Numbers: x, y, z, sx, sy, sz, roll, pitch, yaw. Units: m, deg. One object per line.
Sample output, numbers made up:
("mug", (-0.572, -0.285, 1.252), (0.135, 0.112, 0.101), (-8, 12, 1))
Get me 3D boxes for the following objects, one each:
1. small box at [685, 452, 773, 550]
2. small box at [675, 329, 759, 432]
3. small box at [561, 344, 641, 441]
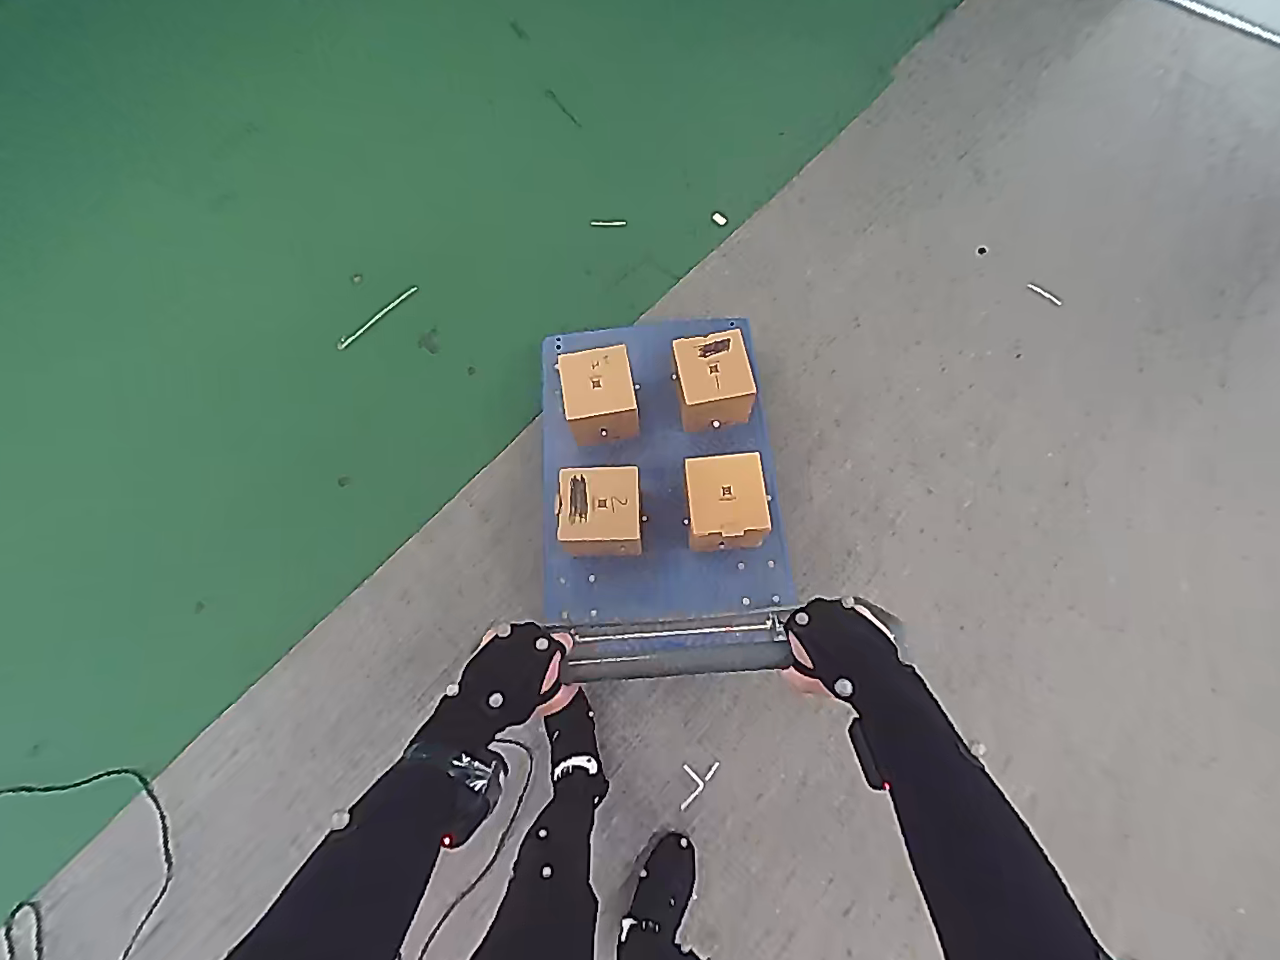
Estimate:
("small box", (0.194, 0.052, 1.228), (0.168, 0.176, 0.179), (-5, 72, 1))
("small box", (0.181, -0.239, 1.325), (0.168, 0.176, 0.179), (-10, 72, 0))
("small box", (-0.091, -0.206, 1.326), (0.168, 0.176, 0.179), (-9, 71, -1))
